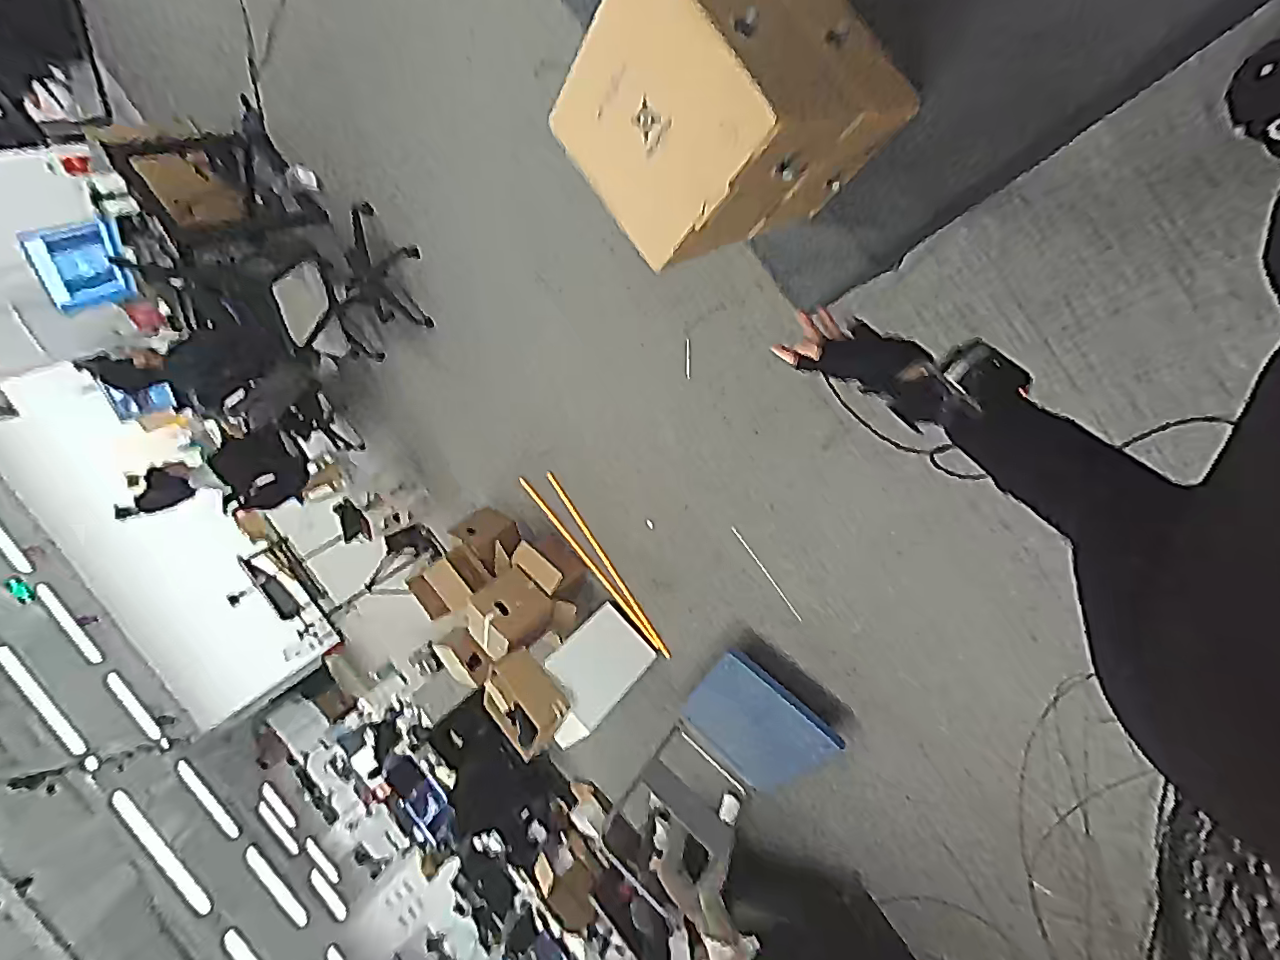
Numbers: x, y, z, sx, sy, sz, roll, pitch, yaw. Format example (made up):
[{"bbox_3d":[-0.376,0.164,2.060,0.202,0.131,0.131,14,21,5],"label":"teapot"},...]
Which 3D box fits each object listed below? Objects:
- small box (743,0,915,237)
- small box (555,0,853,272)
[{"bbox_3d":[0.164,-0.407,0.599,0.179,0.176,0.168,53,141,0],"label":"small box"},{"bbox_3d":[0.061,-0.331,0.497,0.179,0.176,0.168,54,141,-1],"label":"small box"}]
